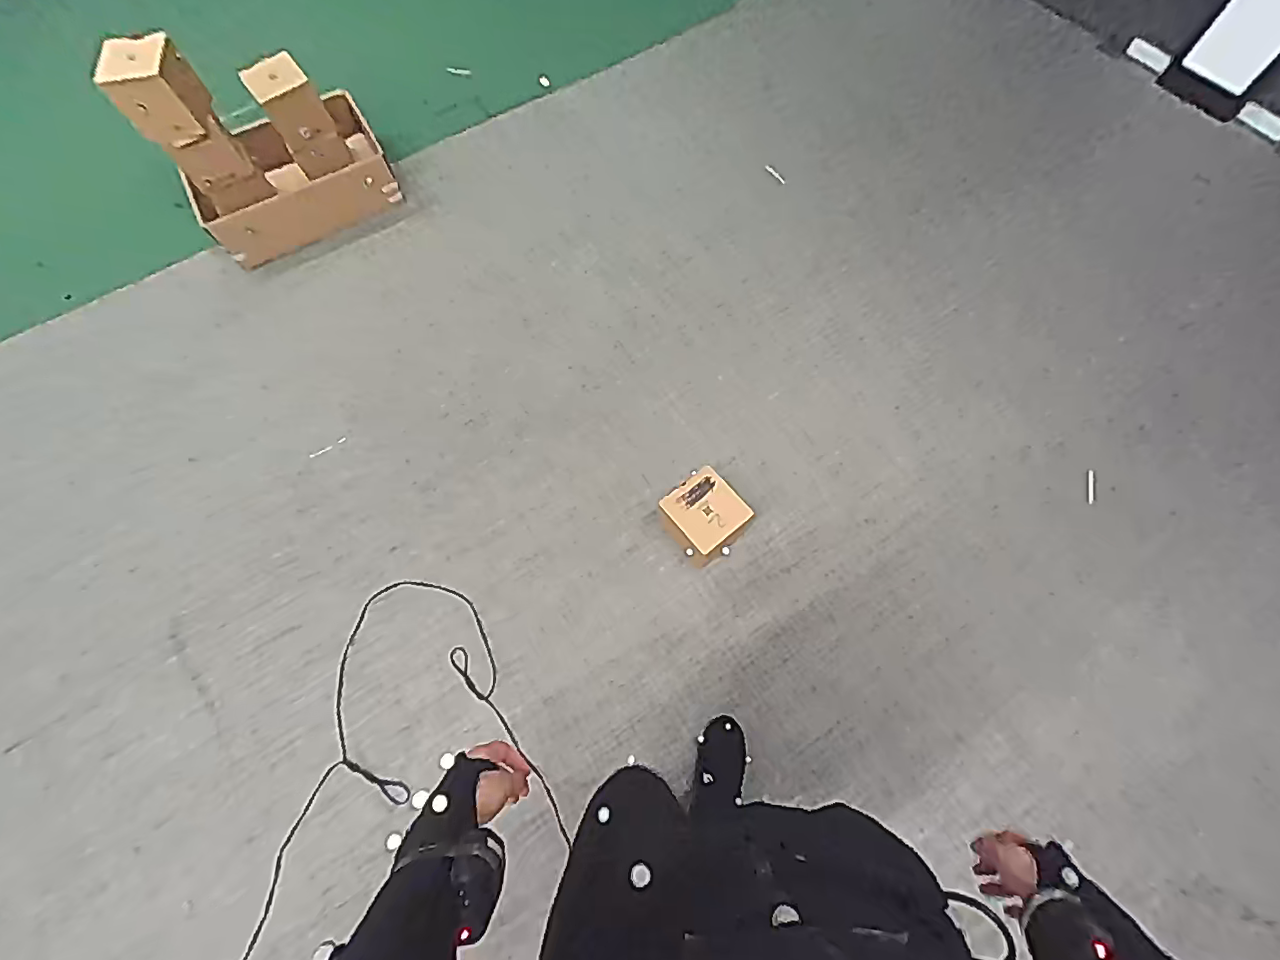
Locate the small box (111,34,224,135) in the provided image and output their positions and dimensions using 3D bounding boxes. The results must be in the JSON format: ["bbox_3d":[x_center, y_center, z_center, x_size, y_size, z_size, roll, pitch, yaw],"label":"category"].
[{"bbox_3d":[-1.325,-1.109,1.530,0.168,0.176,0.179,-9,67,-2],"label":"small box"}]

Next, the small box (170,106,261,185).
[{"bbox_3d":[-1.326,-1.053,1.682,0.168,0.176,0.179,-30,70,-11],"label":"small box"}]

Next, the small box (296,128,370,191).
[{"bbox_3d":[-1.083,-1.160,1.897,0.168,0.176,0.179,-26,70,-7],"label":"small box"}]

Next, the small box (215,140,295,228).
[{"bbox_3d":[-1.323,-1.002,1.839,0.168,0.176,0.179,-31,71,-10],"label":"small box"}]

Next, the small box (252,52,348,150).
[{"bbox_3d":[-1.089,-1.217,1.744,0.168,0.176,0.179,-36,73,-9],"label":"small box"}]
